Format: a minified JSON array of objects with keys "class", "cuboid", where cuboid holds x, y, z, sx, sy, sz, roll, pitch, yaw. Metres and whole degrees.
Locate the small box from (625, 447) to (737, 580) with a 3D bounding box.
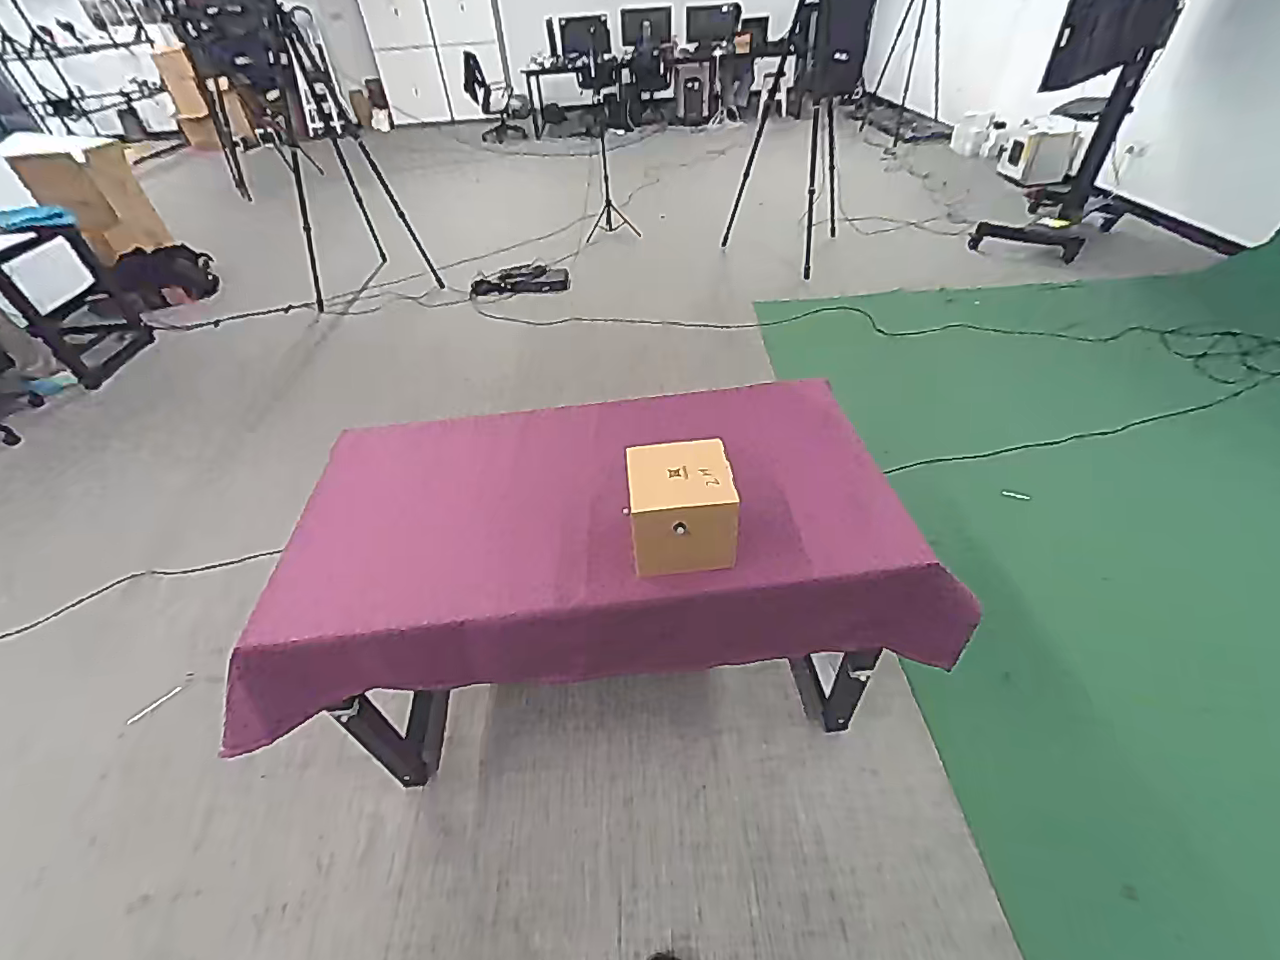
[{"class":"small box","cuboid":[0.071,0.063,0.965,0.179,0.176,0.168,-5,42,0]}]
